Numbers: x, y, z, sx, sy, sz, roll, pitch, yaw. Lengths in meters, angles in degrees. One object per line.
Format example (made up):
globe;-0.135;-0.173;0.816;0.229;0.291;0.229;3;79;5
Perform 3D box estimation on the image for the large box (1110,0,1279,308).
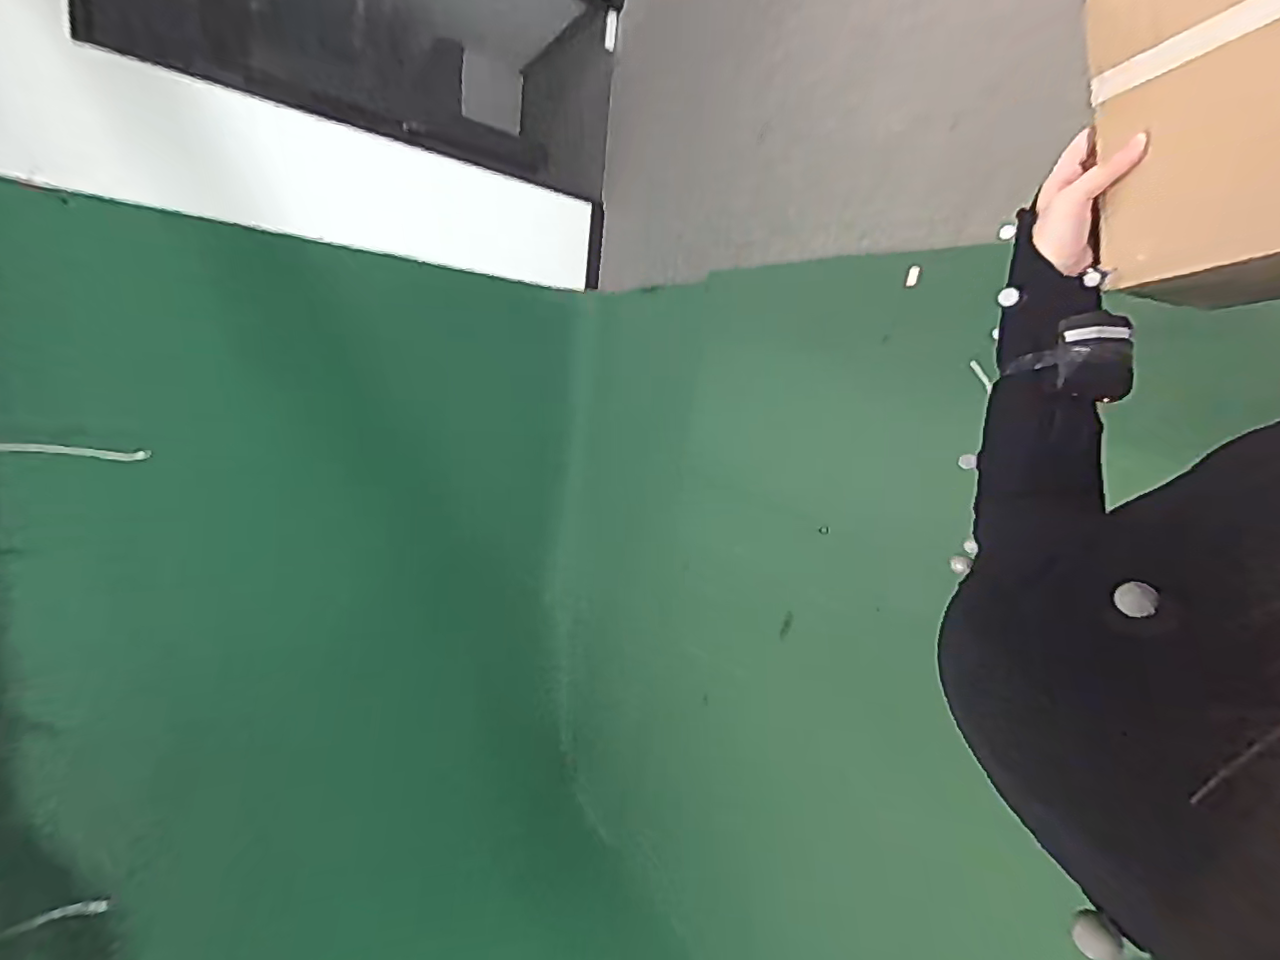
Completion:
large box;0.619;-0.323;0.350;0.408;0.320;0.320;0;96;58
